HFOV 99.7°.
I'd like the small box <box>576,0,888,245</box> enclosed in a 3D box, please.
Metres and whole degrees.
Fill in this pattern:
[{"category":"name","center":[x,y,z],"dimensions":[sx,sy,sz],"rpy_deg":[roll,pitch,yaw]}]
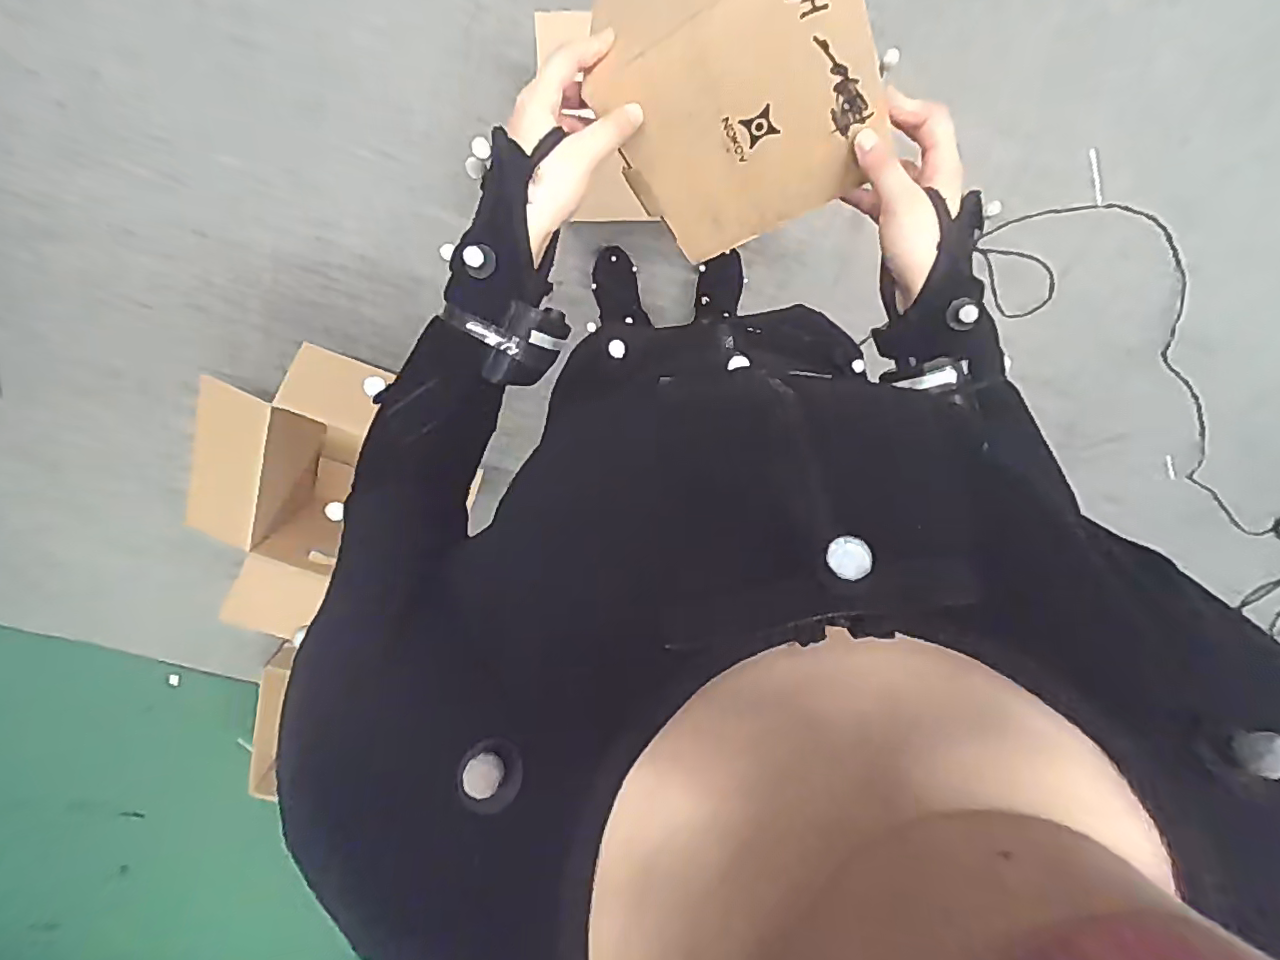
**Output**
[{"category":"small box","center":[0.075,-0.332,0.422],"dimensions":[0.179,0.176,0.168],"rpy_deg":[-15,147,29]}]
